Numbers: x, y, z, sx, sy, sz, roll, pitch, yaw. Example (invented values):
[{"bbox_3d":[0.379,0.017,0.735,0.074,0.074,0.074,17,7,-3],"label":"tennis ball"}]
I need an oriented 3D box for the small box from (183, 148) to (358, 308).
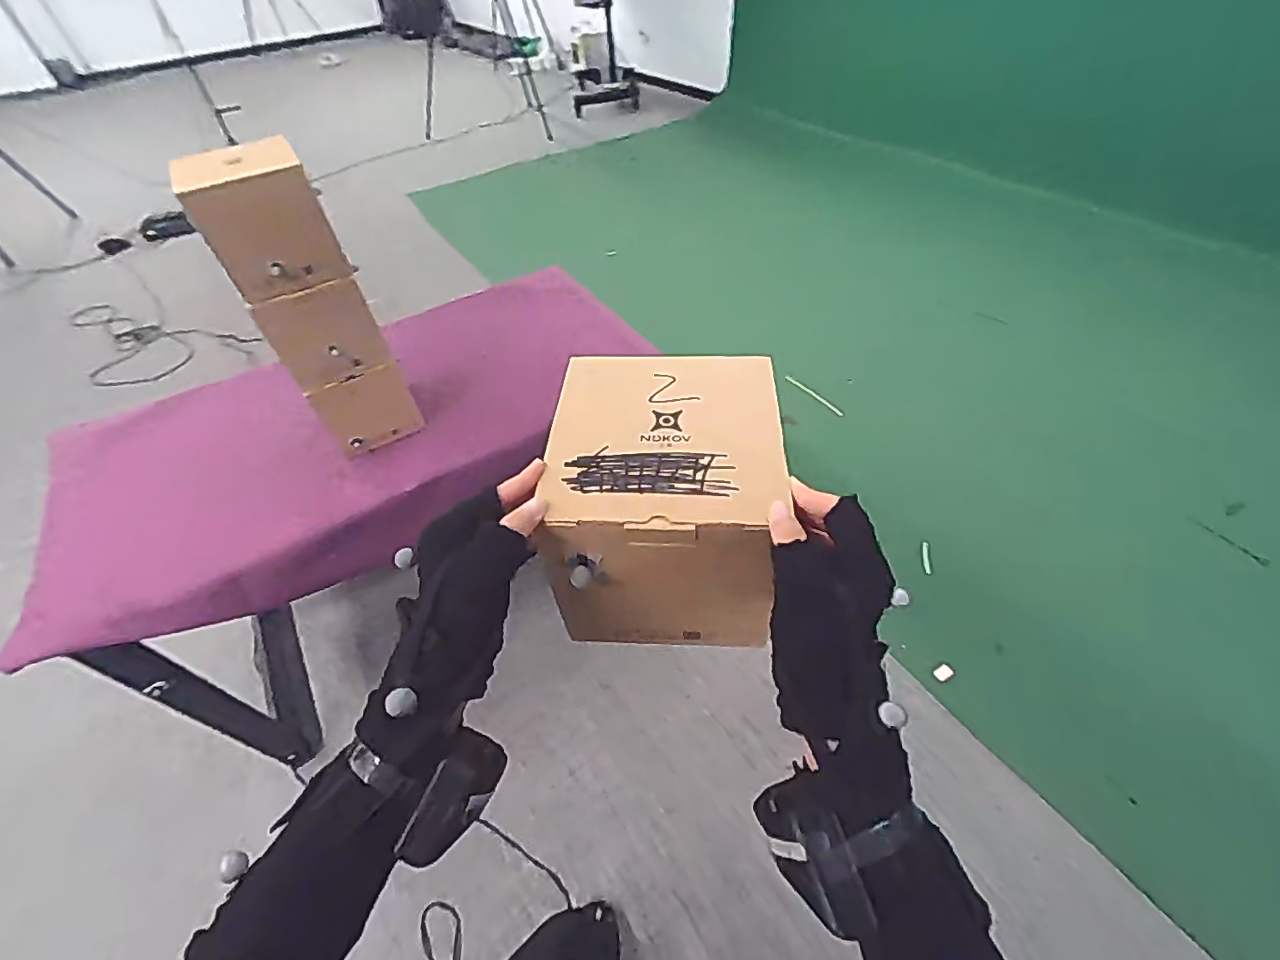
[{"bbox_3d":[-0.582,-0.401,0.862,0.168,0.176,0.179,-27,51,-18],"label":"small box"}]

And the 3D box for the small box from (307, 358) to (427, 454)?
[{"bbox_3d":[-0.556,-0.174,1.097,0.168,0.176,0.179,-26,50,-19],"label":"small box"}]

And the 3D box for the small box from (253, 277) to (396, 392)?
[{"bbox_3d":[-0.571,-0.288,0.979,0.168,0.176,0.179,-27,52,-18],"label":"small box"}]
